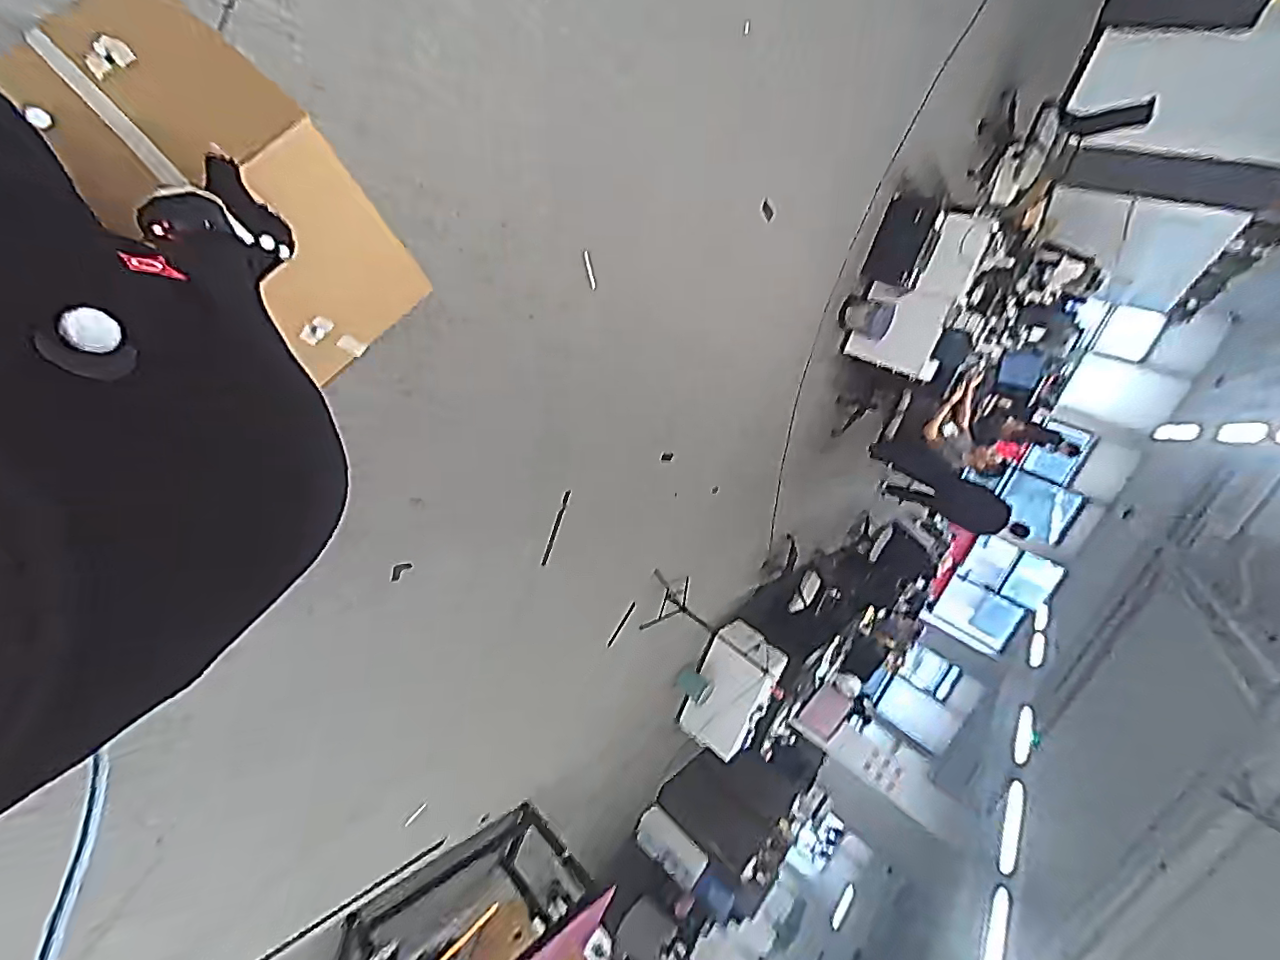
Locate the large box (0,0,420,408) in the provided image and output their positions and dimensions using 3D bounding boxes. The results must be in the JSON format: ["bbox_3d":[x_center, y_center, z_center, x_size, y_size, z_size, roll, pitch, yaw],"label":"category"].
[{"bbox_3d":[-0.611,-0.377,0.768,0.320,0.408,0.320,-45,165,-8],"label":"large box"}]
